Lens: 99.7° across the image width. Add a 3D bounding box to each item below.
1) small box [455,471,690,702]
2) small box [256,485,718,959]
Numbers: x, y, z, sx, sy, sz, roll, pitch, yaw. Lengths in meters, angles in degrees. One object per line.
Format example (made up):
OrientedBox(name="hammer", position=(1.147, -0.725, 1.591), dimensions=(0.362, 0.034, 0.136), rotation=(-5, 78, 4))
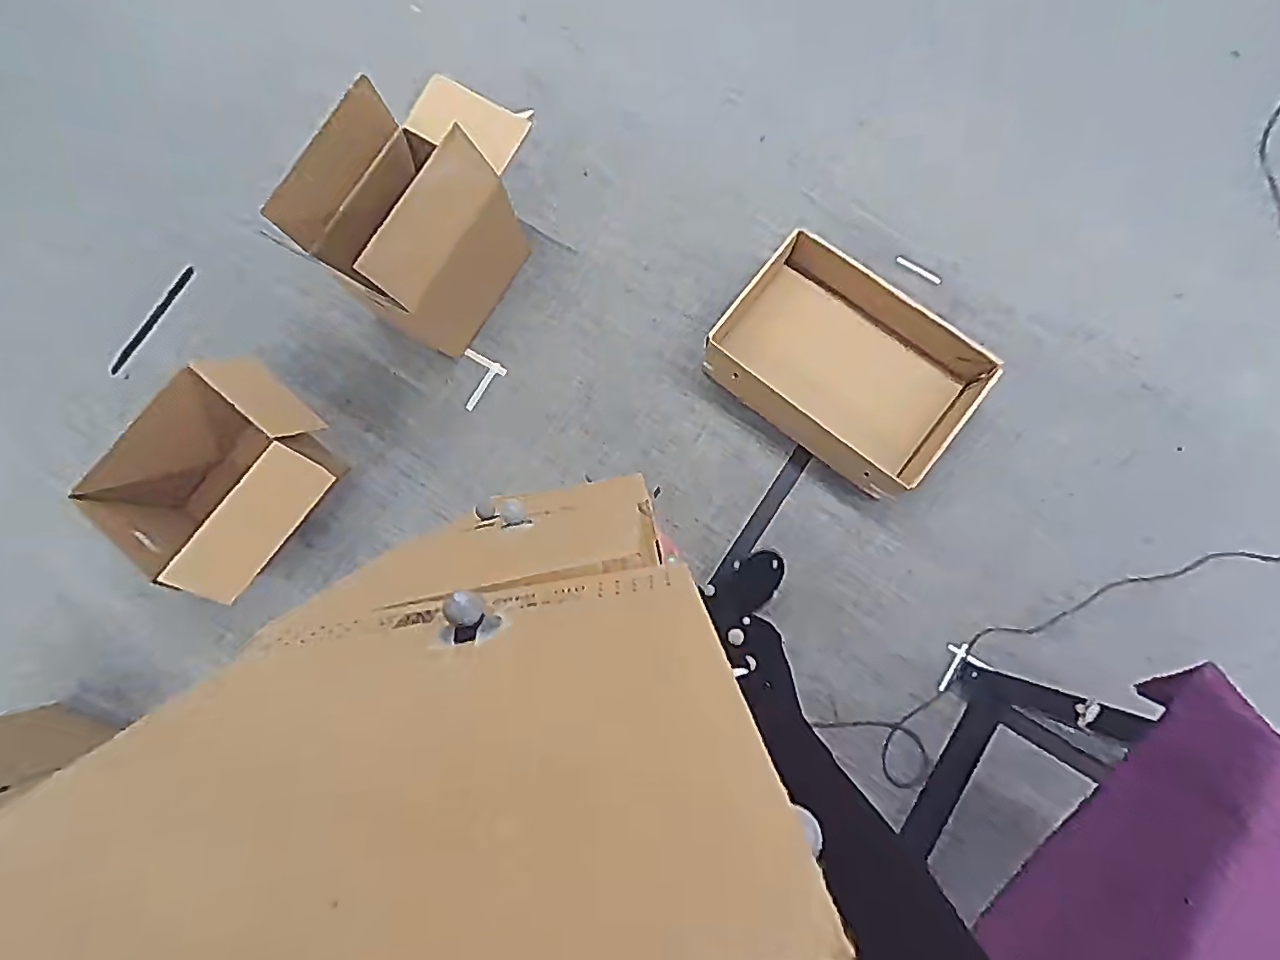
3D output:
OrientedBox(name="small box", position=(-0.063, 0.093, 0.472), dimensions=(0.179, 0.176, 0.168), rotation=(-11, 98, -1))
OrientedBox(name="small box", position=(-0.061, 0.110, 0.308), dimensions=(0.168, 0.176, 0.179), rotation=(-12, 96, -1))
